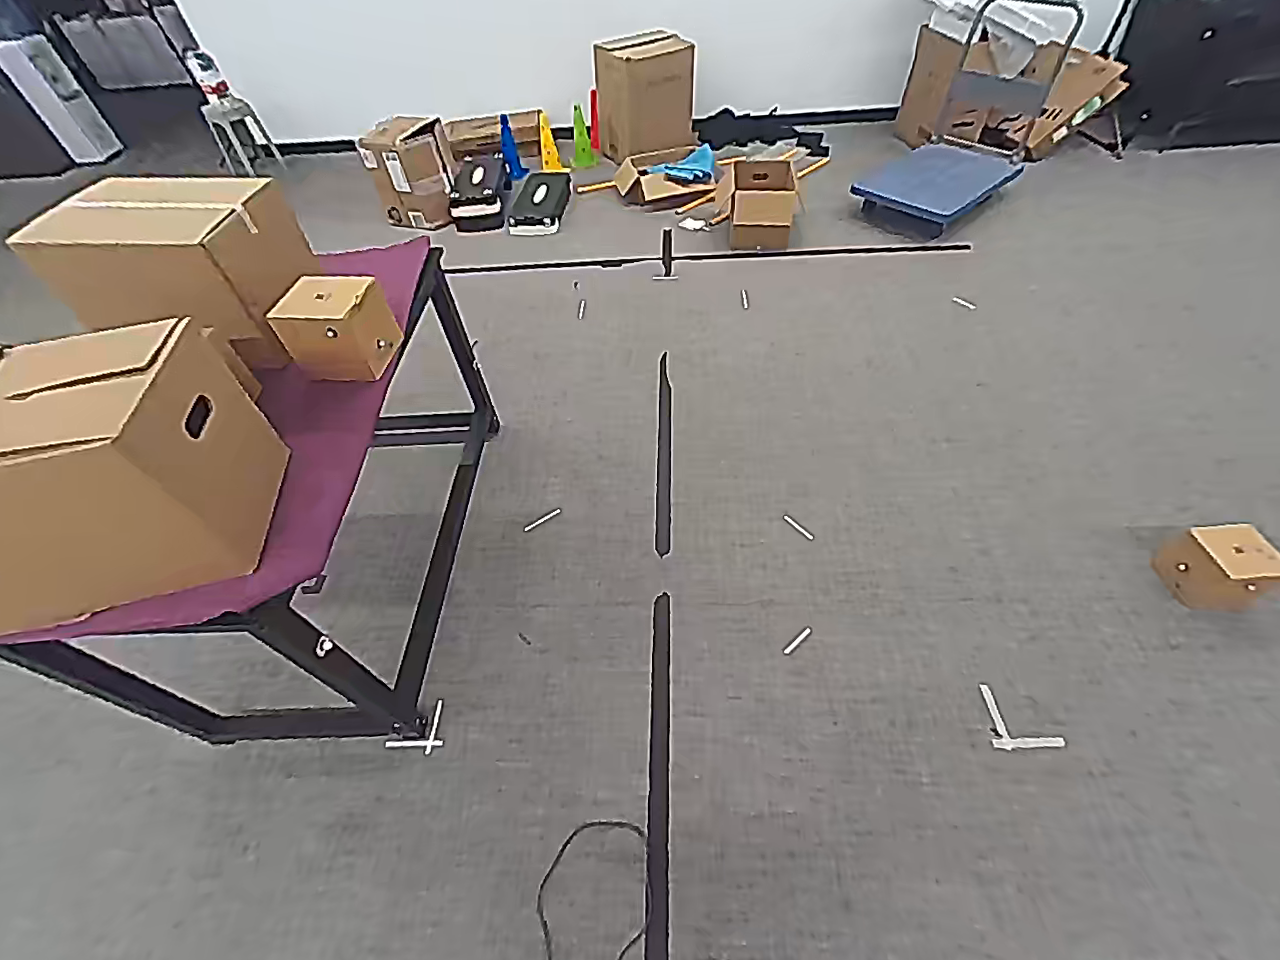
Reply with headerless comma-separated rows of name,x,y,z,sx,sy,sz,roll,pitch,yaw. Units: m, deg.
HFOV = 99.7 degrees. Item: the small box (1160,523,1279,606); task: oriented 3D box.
small box,1.626,0.240,1.514,0.179,0.176,0.168,-4,50,0
